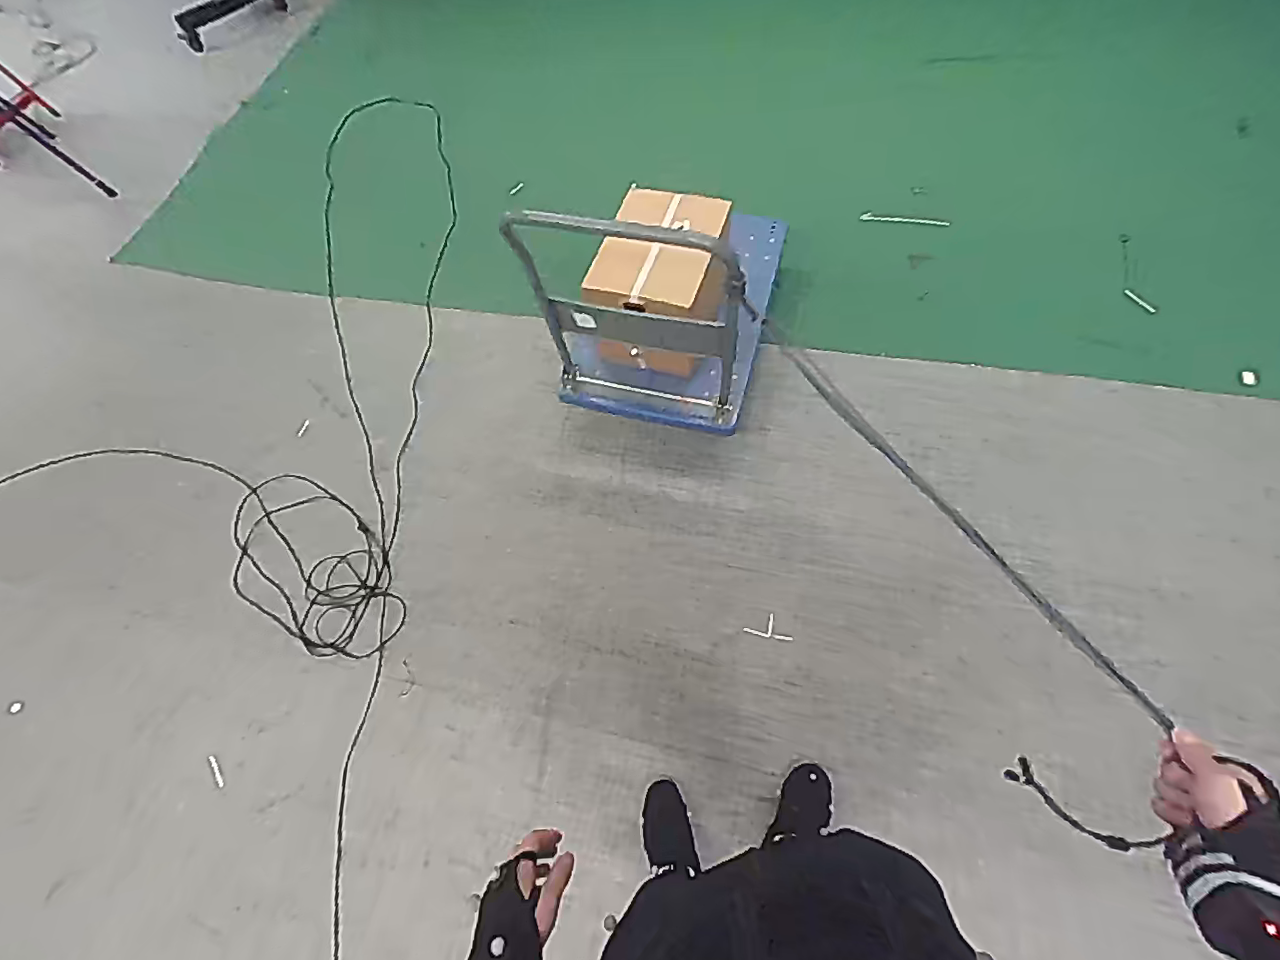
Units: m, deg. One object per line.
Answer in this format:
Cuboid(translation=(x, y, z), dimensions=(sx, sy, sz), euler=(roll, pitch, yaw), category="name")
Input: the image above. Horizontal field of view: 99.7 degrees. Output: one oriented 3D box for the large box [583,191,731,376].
Cuboid(translation=(0.067, -0.578, 1.613), dimensions=(0.320, 0.320, 0.408), euler=(16, 67, 13), category="large box")
